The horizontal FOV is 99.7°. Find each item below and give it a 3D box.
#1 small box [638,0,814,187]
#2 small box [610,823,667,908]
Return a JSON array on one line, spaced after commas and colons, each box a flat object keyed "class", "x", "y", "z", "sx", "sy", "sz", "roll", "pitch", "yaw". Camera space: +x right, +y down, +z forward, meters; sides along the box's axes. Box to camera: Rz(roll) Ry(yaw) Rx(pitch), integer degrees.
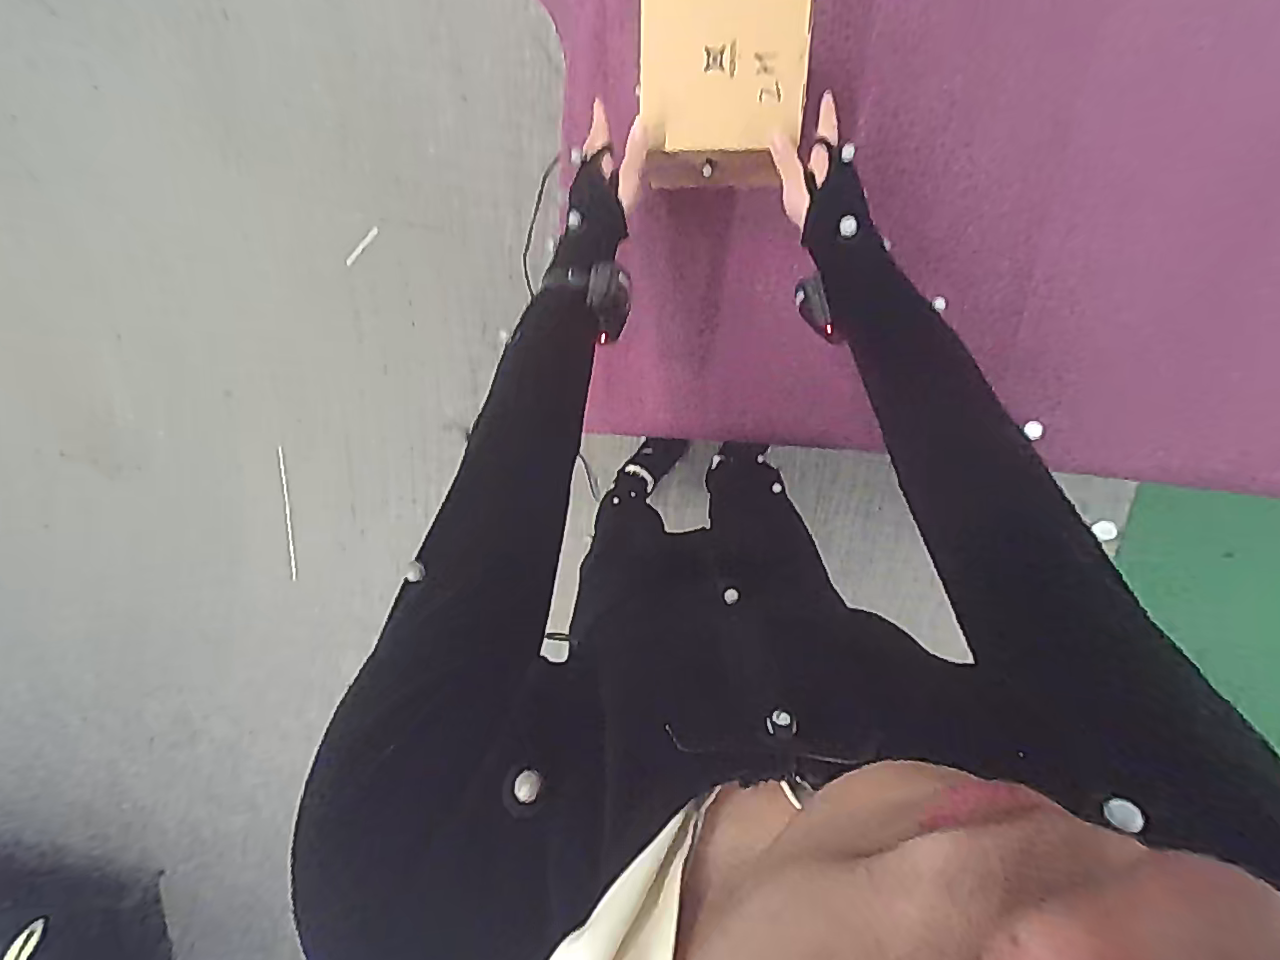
[{"class": "small box", "x": 0.096, "y": -0.454, "z": 0.635, "sx": 0.179, "sy": 0.176, "sz": 0.168, "roll": 3, "pitch": 106, "yaw": 6}, {"class": "small box", "x": 0.000, "y": 1.341, "z": 1.889, "sx": 0.179, "sy": 0.176, "sz": 0.168, "roll": 6, "pitch": 106, "yaw": 6}]
